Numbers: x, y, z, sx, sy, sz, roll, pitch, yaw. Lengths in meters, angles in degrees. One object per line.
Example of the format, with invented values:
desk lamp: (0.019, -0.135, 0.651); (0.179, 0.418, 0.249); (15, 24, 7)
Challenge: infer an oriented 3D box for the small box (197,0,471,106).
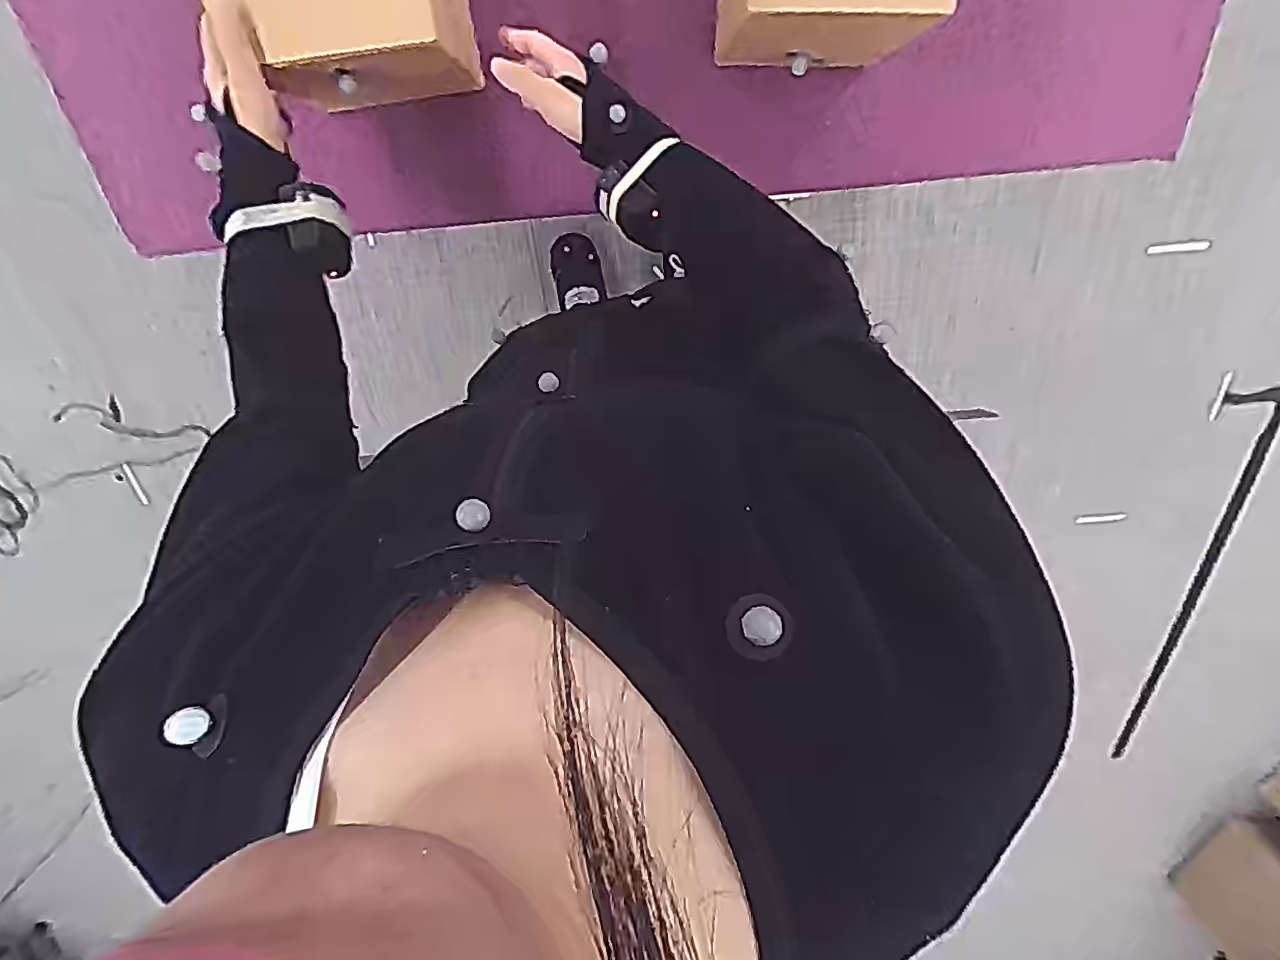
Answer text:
small box: (-0.259, -0.443, 0.468); (0.179, 0.176, 0.168); (-6, 116, 2)

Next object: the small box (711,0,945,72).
small box: (0.157, -0.479, 0.463); (0.168, 0.176, 0.179); (0, 116, -1)
